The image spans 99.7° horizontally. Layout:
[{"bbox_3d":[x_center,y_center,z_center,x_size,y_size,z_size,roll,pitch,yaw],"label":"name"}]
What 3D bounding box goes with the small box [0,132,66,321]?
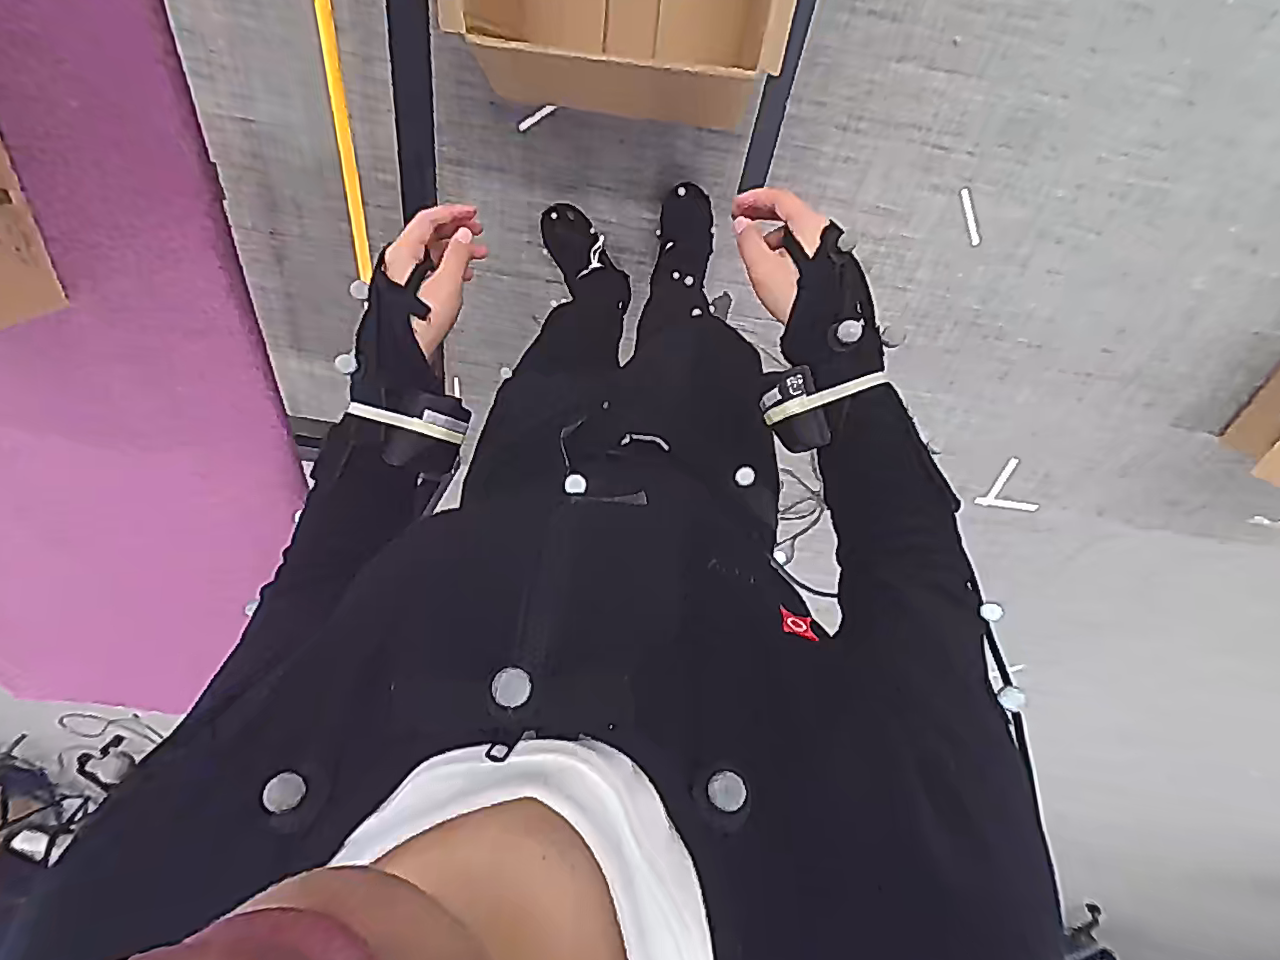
[{"bbox_3d":[-0.641,-0.211,0.425,0.179,0.176,0.168,13,126,-3],"label":"small box"}]
